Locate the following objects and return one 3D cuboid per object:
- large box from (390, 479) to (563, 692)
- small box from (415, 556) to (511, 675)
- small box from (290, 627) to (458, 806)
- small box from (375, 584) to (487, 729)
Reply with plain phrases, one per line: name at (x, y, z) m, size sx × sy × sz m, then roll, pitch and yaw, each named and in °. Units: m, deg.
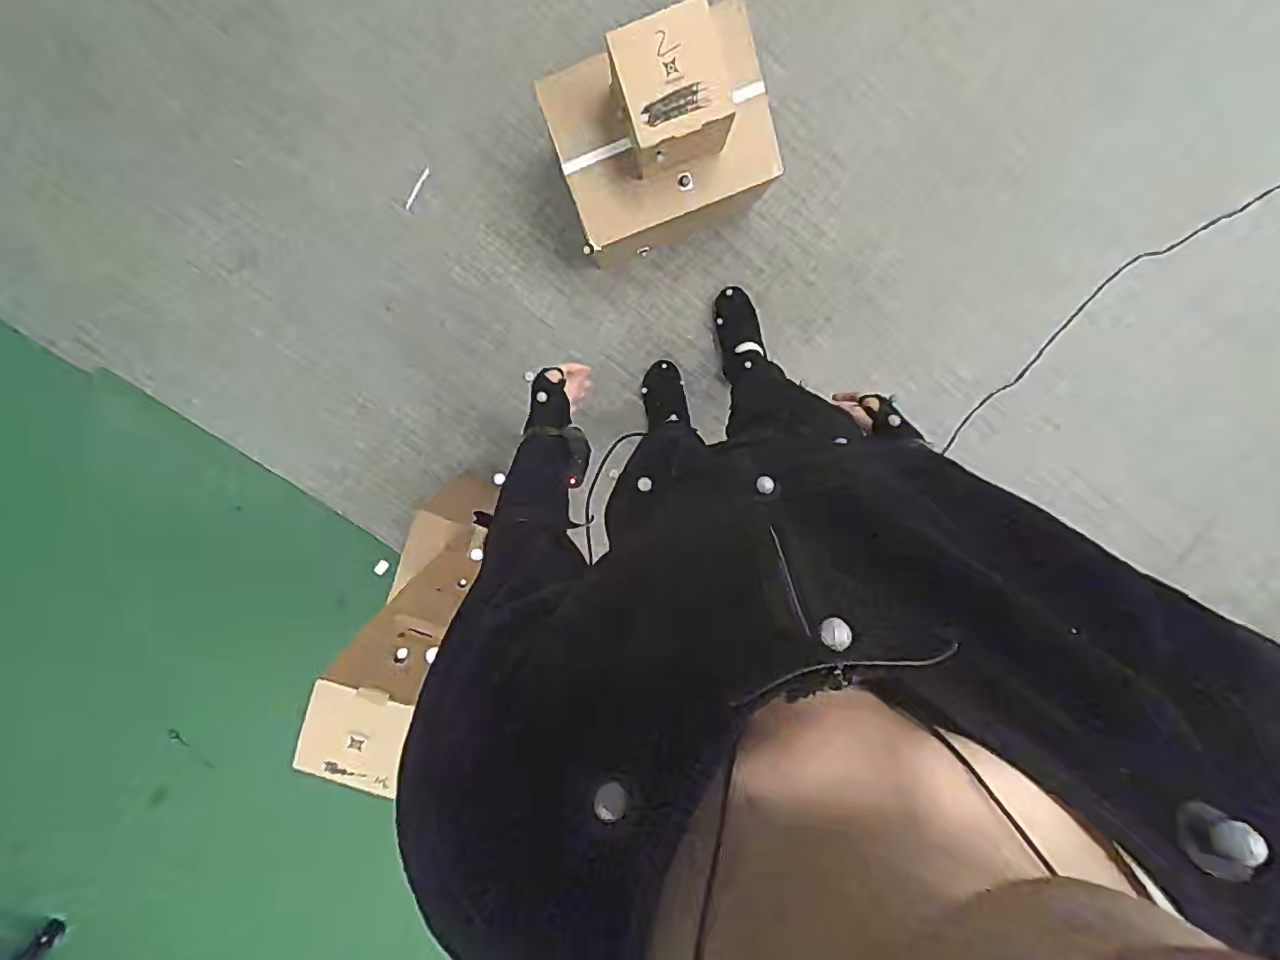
large box at (-0.427, 0.260, 1.432) m, size 0.320 × 0.320 × 0.408 m, roll 22°, pitch 105°, yaw -3°
small box at (-0.403, 0.288, 1.187) m, size 0.179 × 0.176 × 0.168 m, roll 22°, pitch 103°, yaw -5°
small box at (-0.413, 0.367, 0.869) m, size 0.168 × 0.176 × 0.179 m, roll 22°, pitch 102°, yaw -4°
small box at (-0.407, 0.325, 1.028) m, size 0.168 × 0.176 × 0.179 m, roll 21°, pitch 104°, yaw -5°
